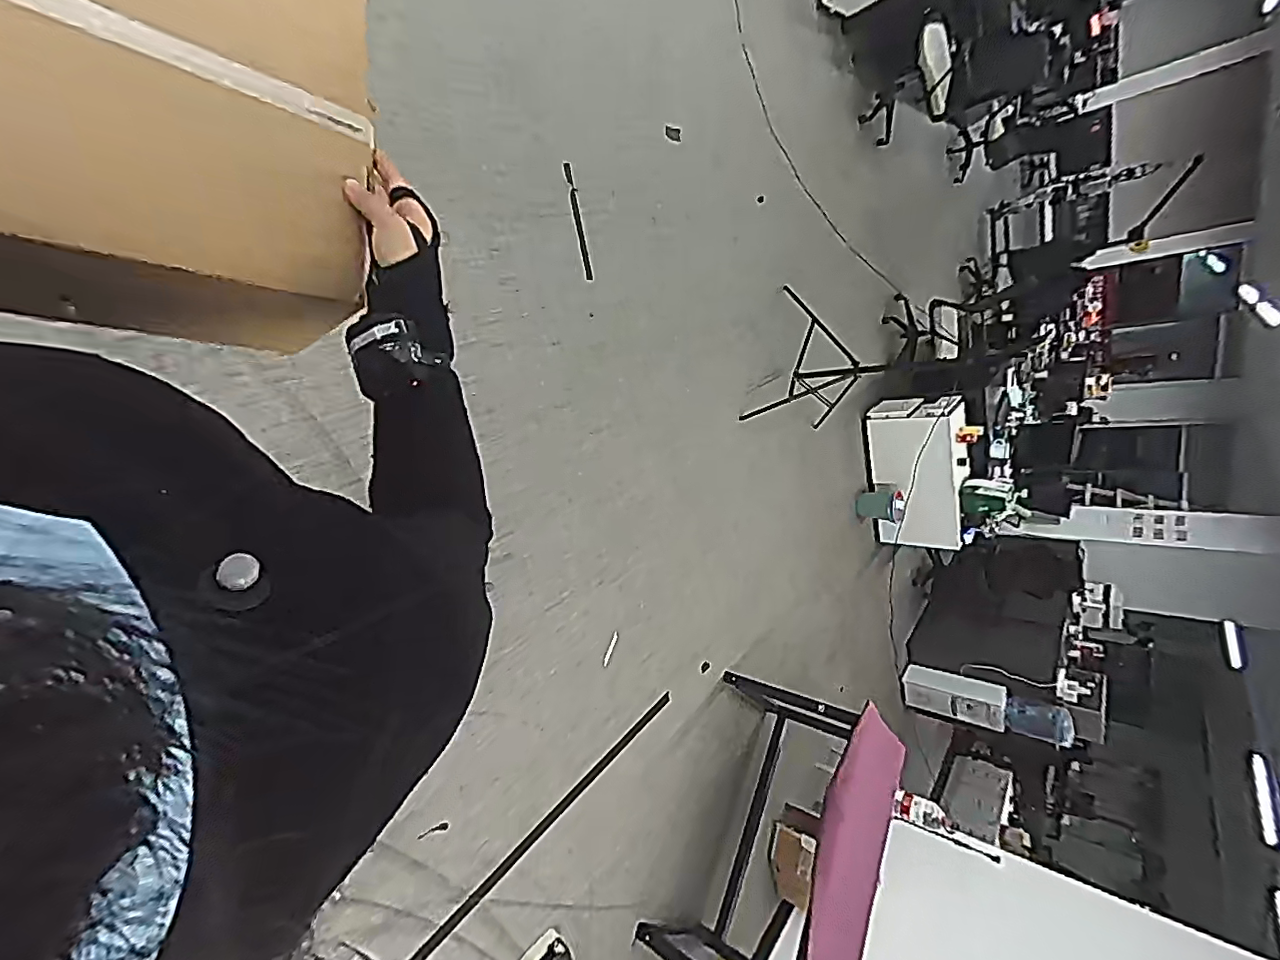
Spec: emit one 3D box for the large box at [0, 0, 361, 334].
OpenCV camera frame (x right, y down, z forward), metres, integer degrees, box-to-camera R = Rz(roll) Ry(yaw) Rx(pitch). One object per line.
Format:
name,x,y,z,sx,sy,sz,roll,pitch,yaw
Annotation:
large box,-0.505,-0.331,0.477,0.408,0.320,0.320,-1,92,-43
